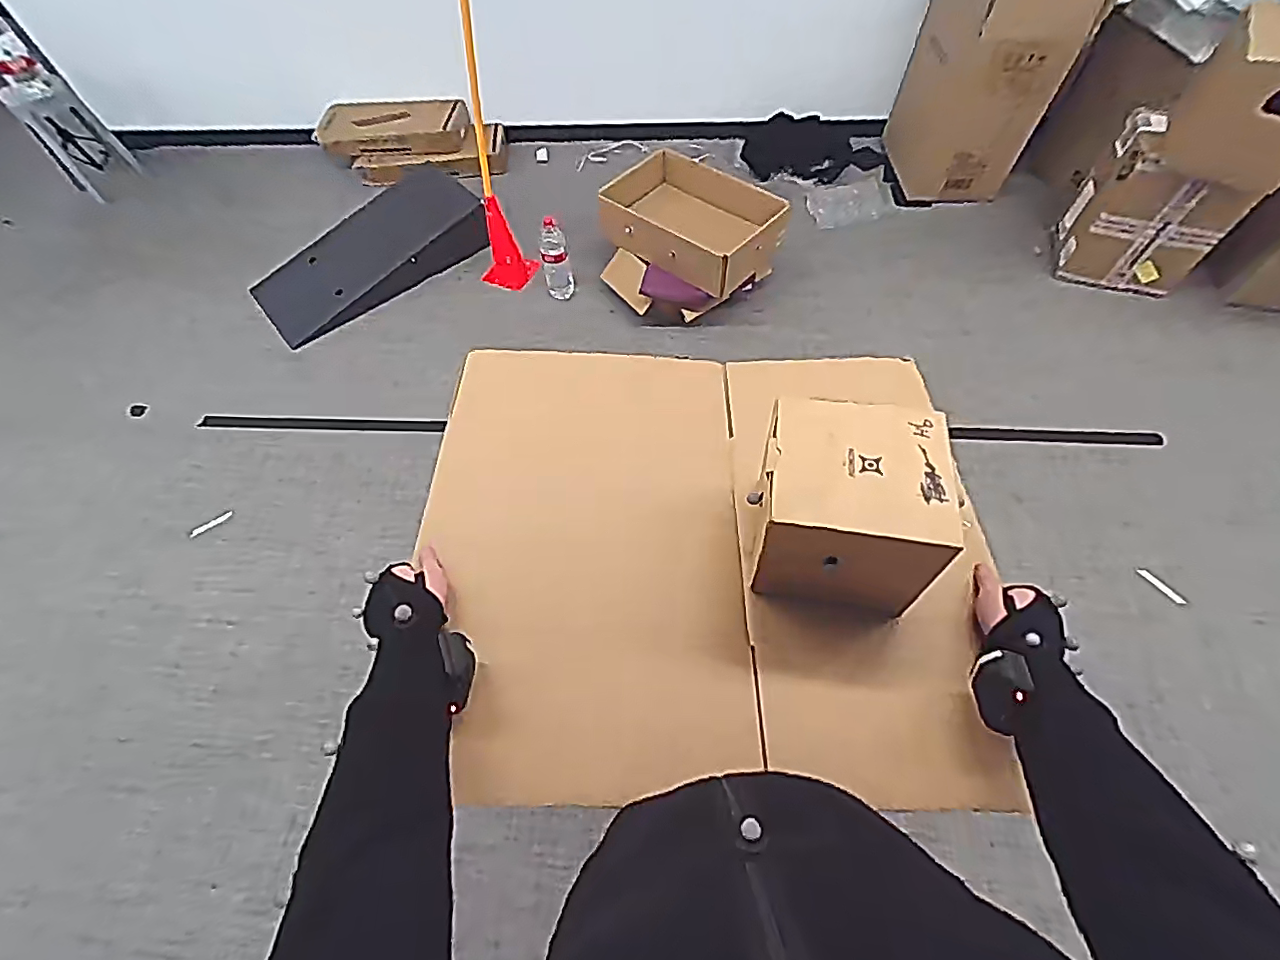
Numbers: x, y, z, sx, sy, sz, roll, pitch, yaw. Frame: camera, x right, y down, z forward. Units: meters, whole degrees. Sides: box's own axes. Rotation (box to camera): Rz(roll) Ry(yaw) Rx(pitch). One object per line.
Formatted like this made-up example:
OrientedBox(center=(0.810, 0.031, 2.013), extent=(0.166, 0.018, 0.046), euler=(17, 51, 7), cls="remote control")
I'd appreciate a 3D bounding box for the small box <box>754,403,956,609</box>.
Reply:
OrientedBox(center=(0.228, 0.034, 0.617), extent=(0.179, 0.176, 0.168), euler=(7, 57, 10), cls="small box")
